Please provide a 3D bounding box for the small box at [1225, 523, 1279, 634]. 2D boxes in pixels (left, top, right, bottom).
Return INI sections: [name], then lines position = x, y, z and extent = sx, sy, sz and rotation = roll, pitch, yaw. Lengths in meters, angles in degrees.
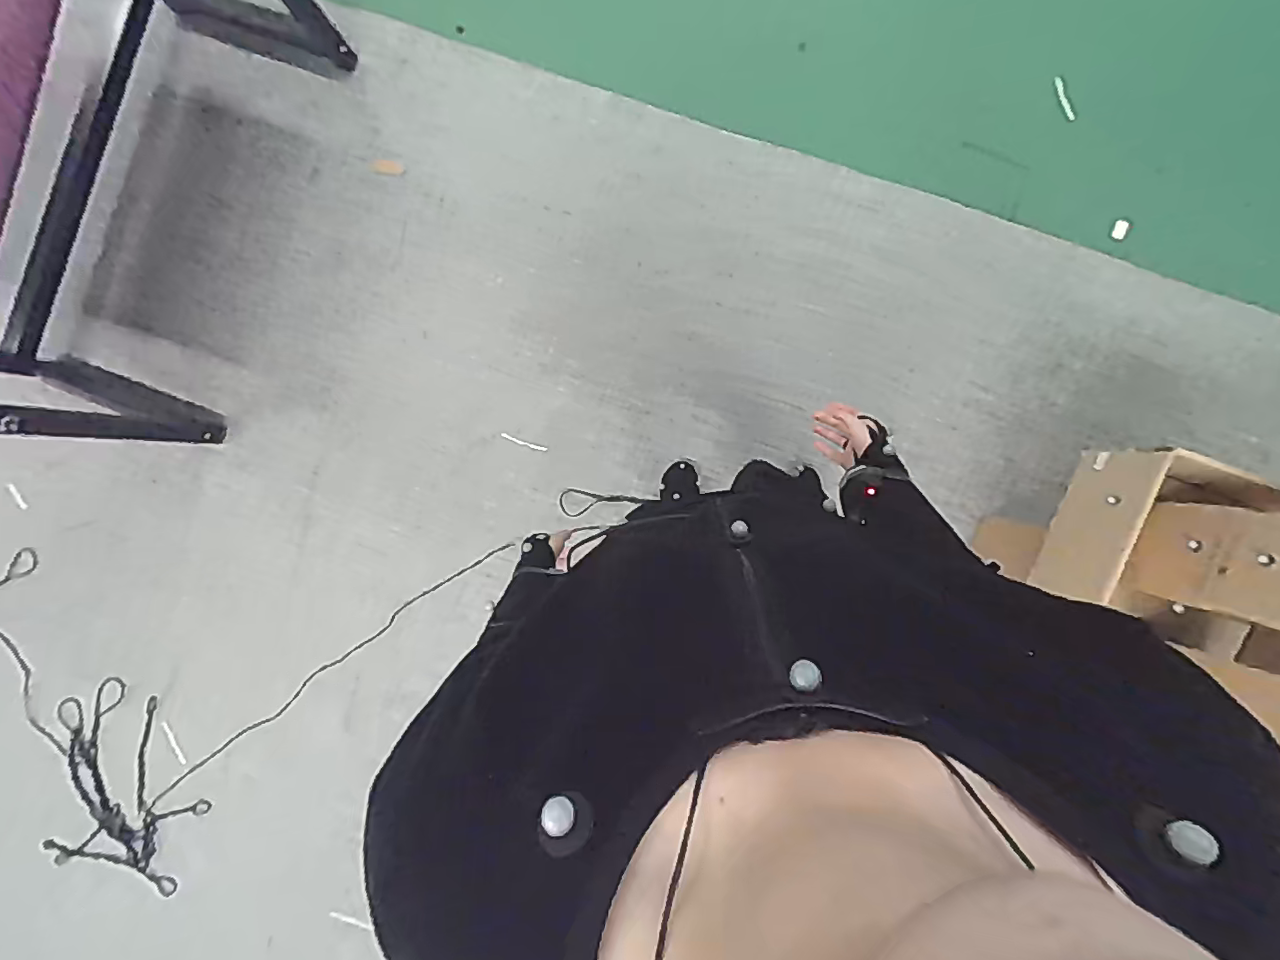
[small box]
position = 1.020, 0.165, 0.770
extent = 0.179, 0.176, 0.168
rotation = 21, 92, 4
